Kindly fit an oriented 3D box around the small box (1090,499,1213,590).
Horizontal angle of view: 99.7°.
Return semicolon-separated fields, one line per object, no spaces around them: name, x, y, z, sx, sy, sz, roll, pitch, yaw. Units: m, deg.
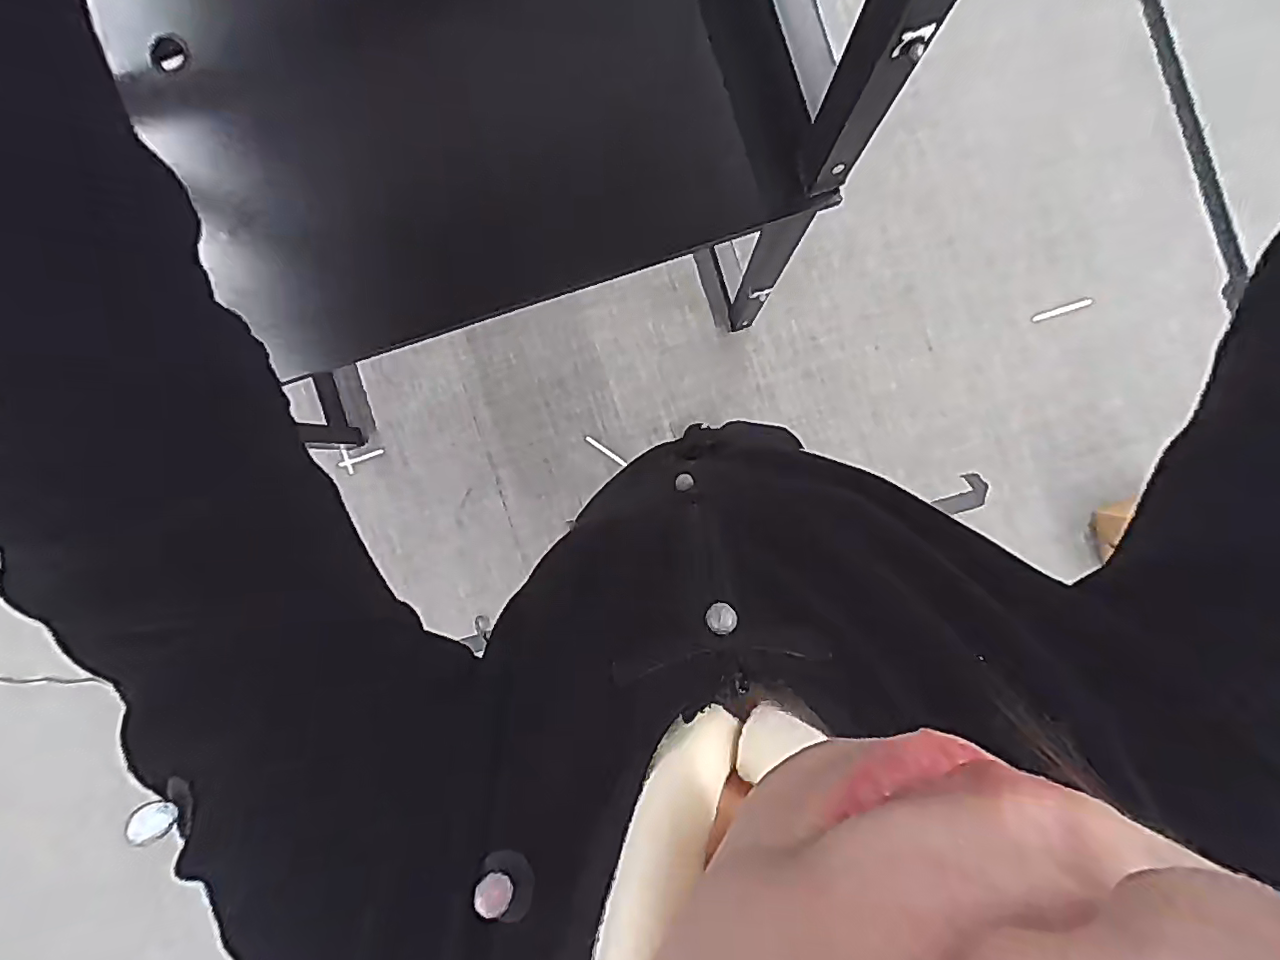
small box;1.296;0.156;1.365;0.168;0.176;0.179;-15;93;3
